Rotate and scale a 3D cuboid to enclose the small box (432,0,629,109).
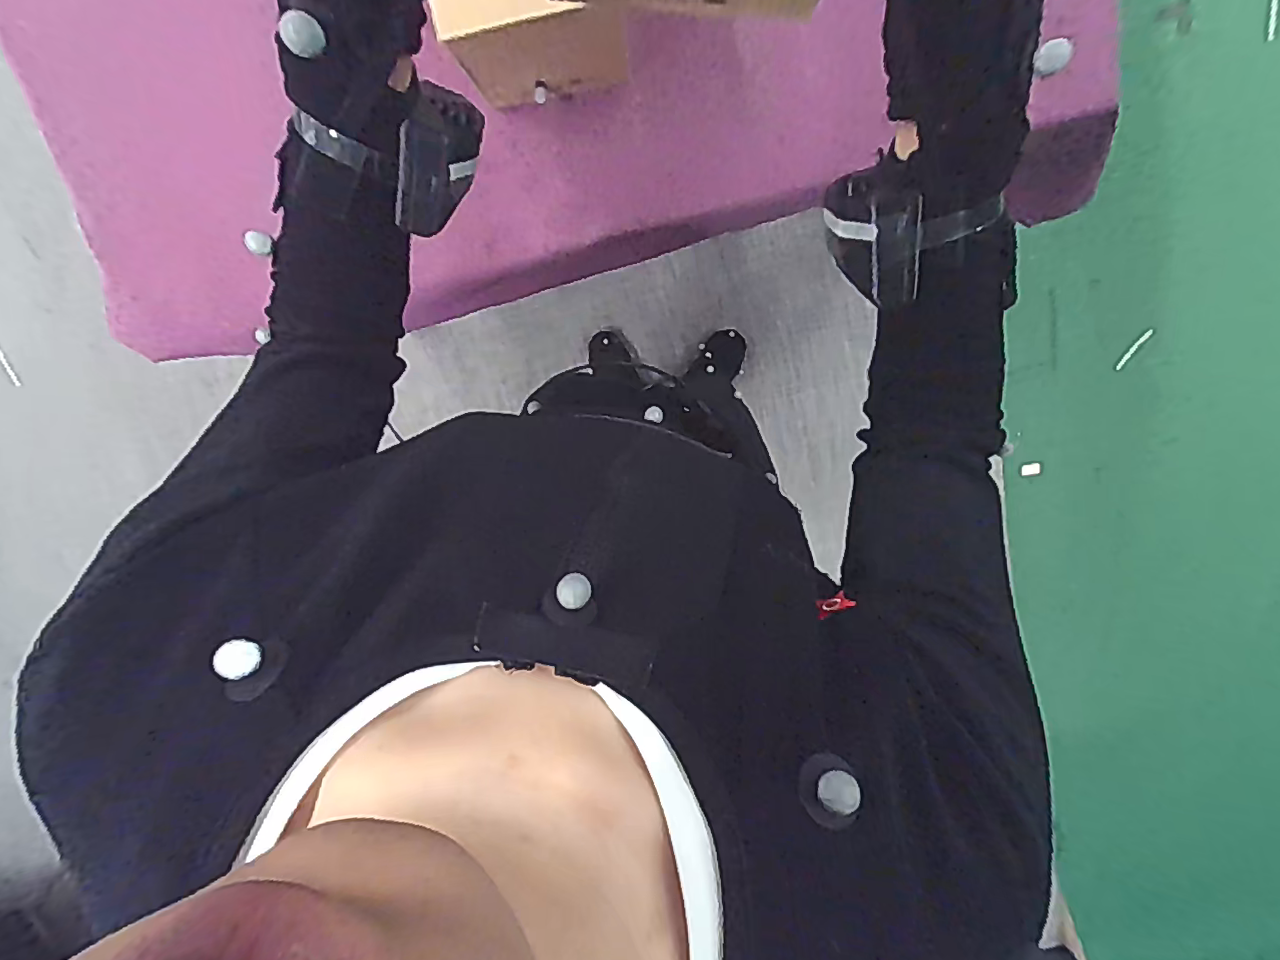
[{"bbox_3d":[-0.107,-0.501,0.521,0.168,0.176,0.179,-9,106,4],"label":"small box"}]
